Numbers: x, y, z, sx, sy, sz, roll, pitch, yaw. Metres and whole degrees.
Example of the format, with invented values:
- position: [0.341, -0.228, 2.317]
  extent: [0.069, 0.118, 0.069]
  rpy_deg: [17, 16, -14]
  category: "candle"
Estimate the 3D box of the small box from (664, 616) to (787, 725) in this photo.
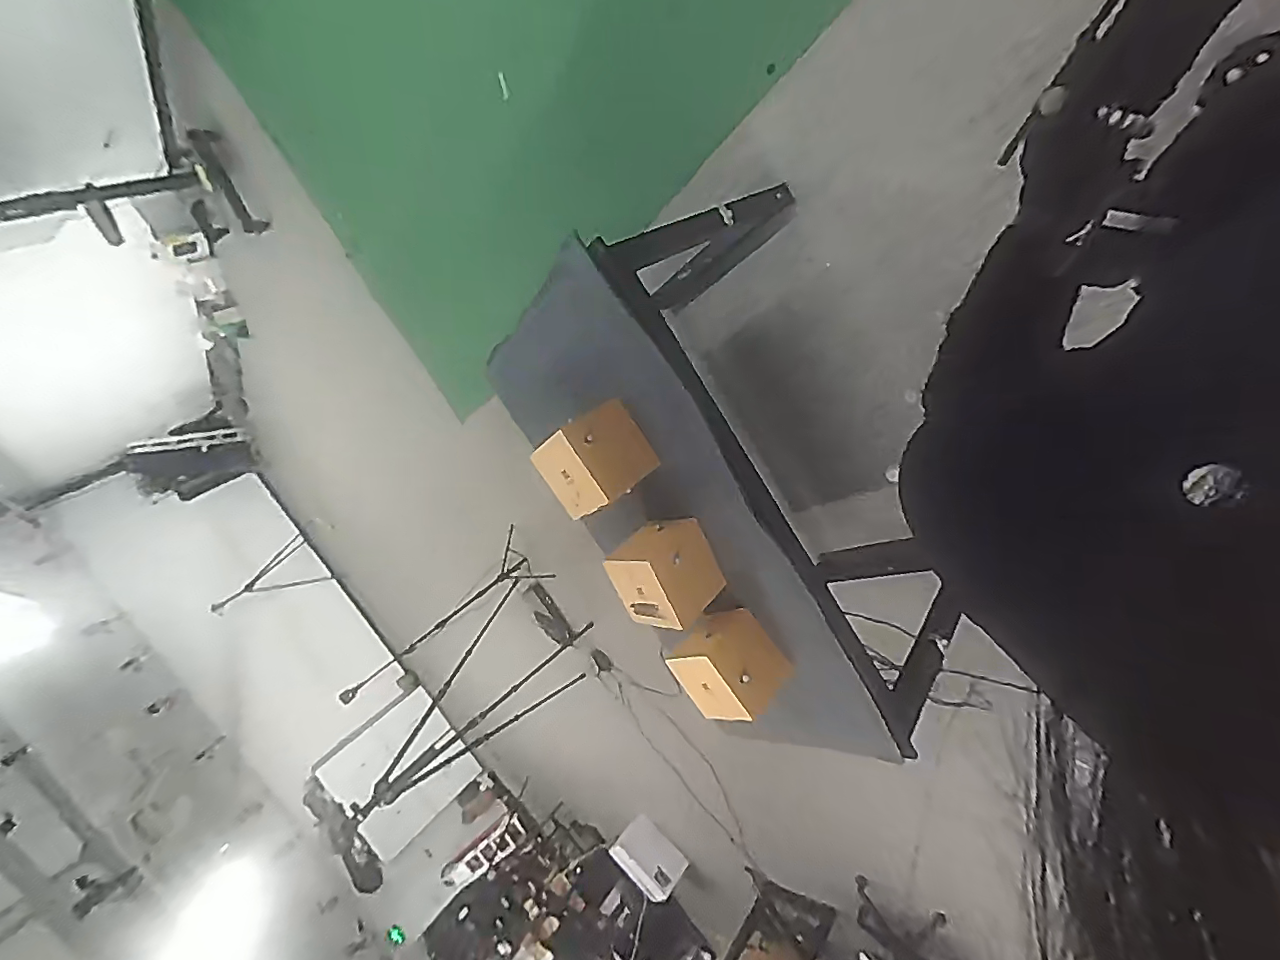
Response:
- position: [0.195, 0.424, 1.224]
  extent: [0.179, 0.176, 0.168]
  rpy_deg: [54, 143, -2]
  category: "small box"

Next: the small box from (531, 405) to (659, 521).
- position: [-0.094, -0.041, 1.155]
  extent: [0.179, 0.176, 0.168]
  rpy_deg: [56, 143, -5]
  category: "small box"
